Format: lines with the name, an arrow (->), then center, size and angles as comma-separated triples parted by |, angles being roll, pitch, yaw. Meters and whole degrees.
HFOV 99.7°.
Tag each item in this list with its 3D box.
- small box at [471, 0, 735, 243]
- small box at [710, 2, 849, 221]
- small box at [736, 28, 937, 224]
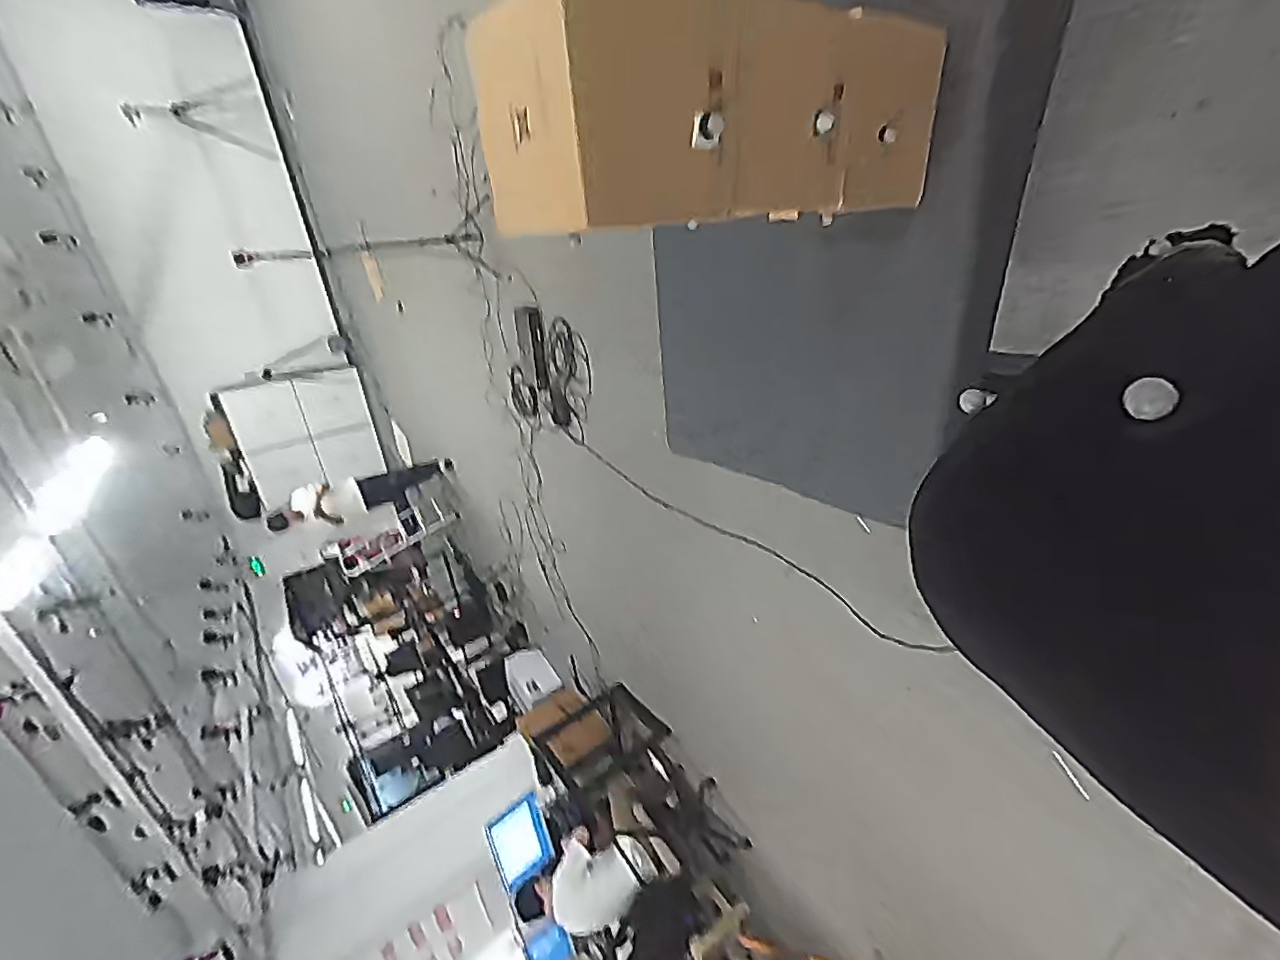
small box -> -0.032, -0.316, 0.502 | 0.179, 0.176, 0.168 | 27, 131, 48
small box -> 0.094, -0.373, 0.586 | 0.179, 0.176, 0.168 | 29, 131, 51
small box -> 0.233, -0.419, 0.663 | 0.168, 0.176, 0.179 | 29, 132, 48
